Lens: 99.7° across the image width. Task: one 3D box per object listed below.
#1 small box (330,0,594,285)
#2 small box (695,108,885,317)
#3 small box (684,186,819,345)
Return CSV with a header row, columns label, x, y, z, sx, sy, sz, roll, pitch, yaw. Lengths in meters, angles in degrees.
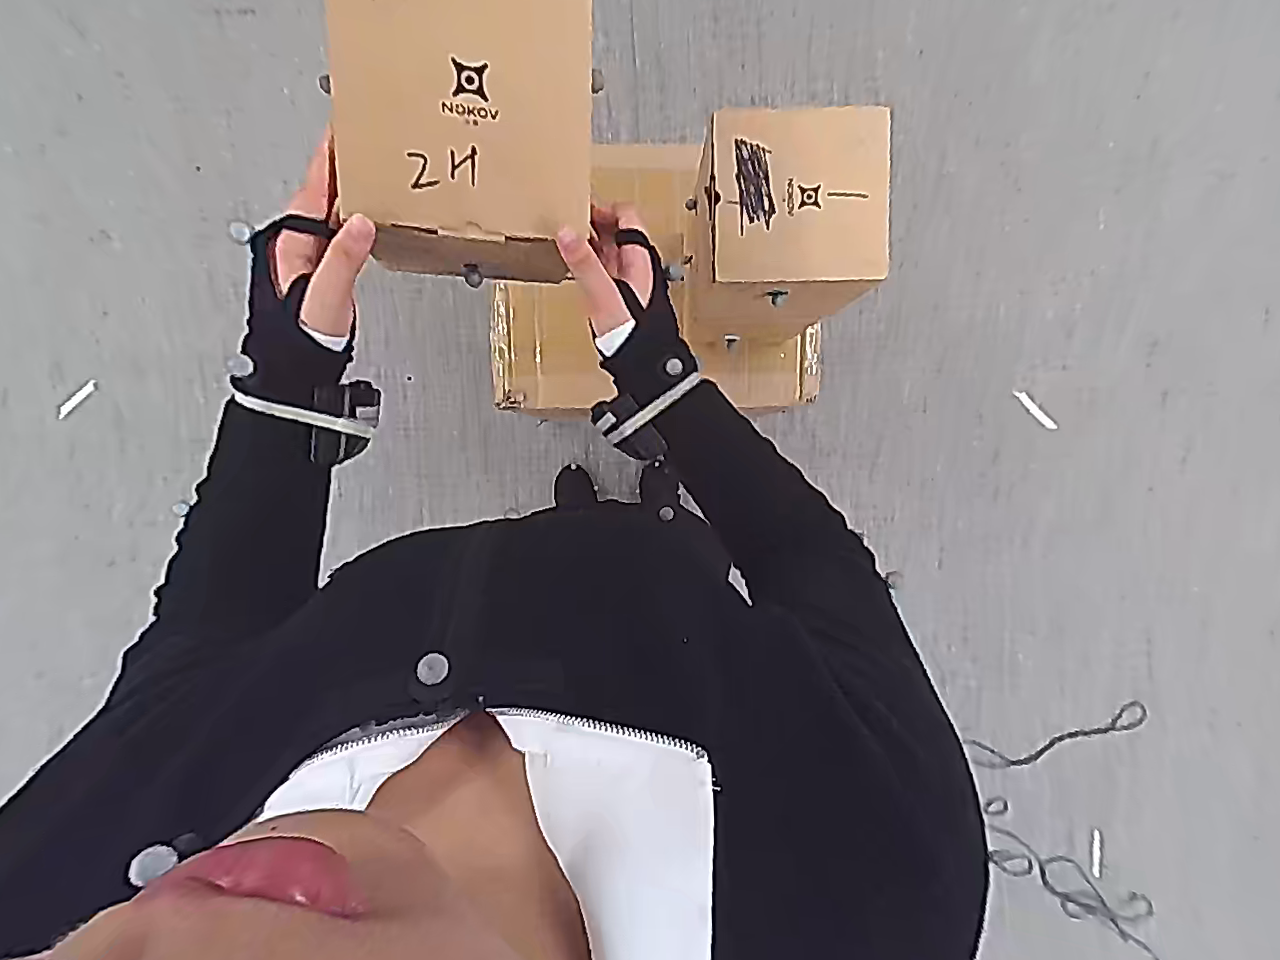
label,x,y,z,sx,sy,sz,roll,pitch,yaw
small box,-0.134,-0.268,0.433,0.168,0.176,0.179,-1,100,-15
small box,0.155,-0.286,0.614,0.179,0.176,0.168,-1,94,0
small box,0.151,-0.298,0.778,0.168,0.176,0.179,-1,95,1
